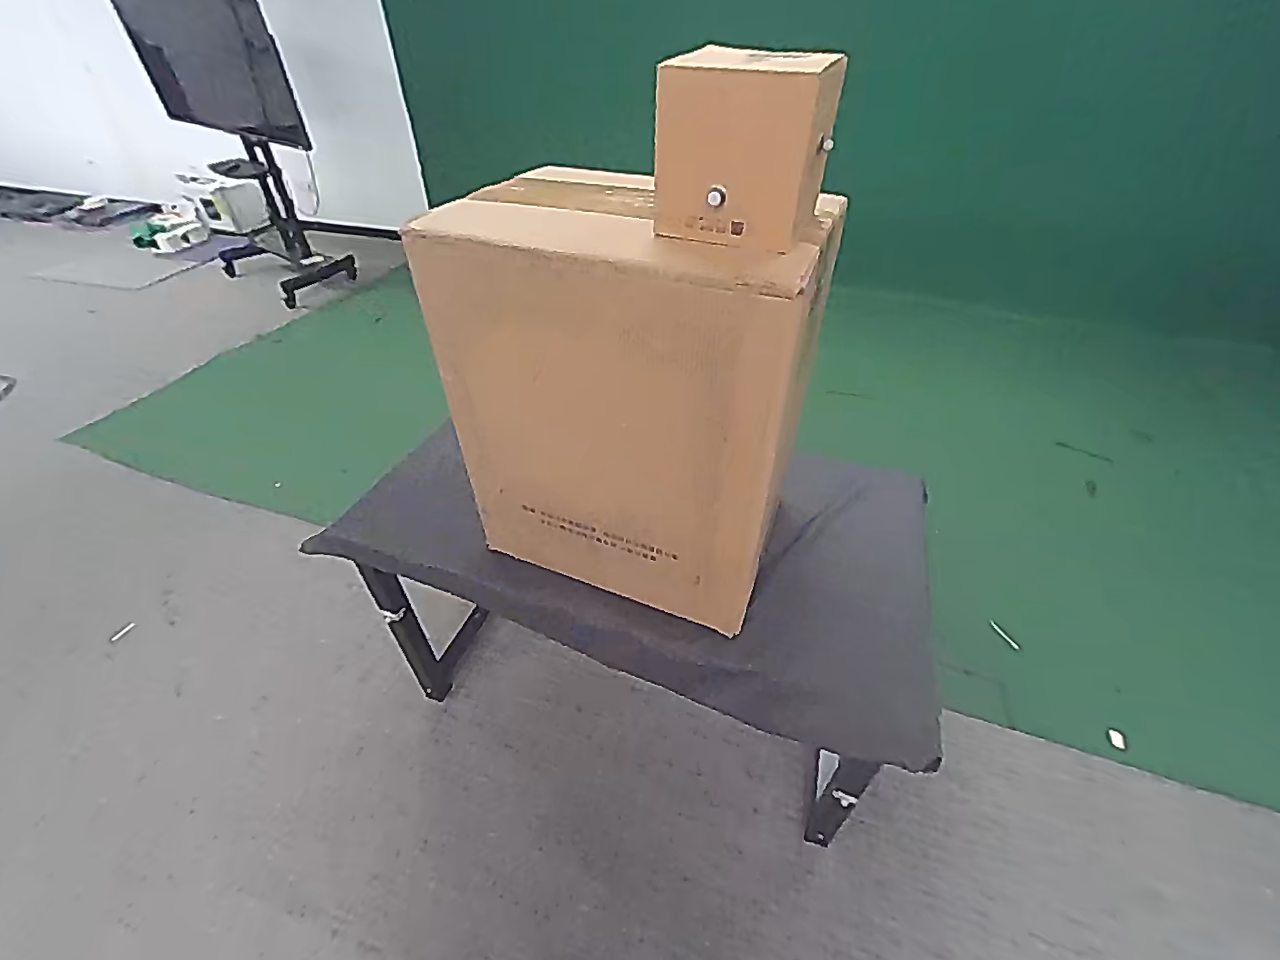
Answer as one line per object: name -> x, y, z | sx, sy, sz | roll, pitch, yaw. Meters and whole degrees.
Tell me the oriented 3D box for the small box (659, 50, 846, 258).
small box -> 0.125, -0.384, 0.634 | 0.168, 0.176, 0.179 | 17, 46, 17
